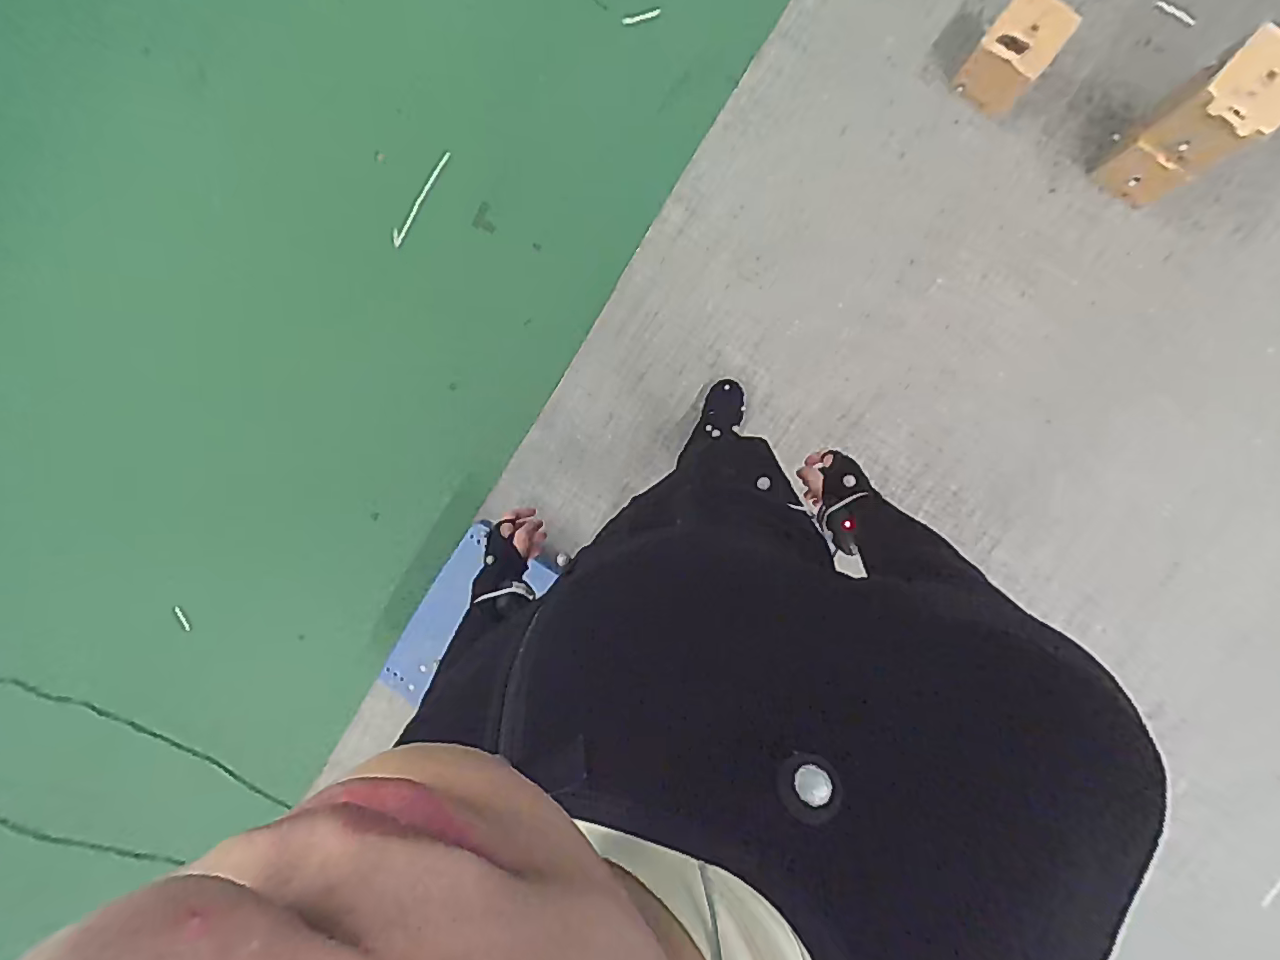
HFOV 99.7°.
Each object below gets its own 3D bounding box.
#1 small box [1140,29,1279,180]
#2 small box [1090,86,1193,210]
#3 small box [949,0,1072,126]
[{"bbox_3d":[1.289,-0.820,1.199,0.168,0.176,0.179,40,97,3],"label":"small box"},{"bbox_3d":[1.300,-0.823,1.364,0.168,0.176,0.179,36,97,2],"label":"small box"},{"bbox_3d":[0.942,-1.073,1.400,0.168,0.176,0.179,38,96,1],"label":"small box"}]
